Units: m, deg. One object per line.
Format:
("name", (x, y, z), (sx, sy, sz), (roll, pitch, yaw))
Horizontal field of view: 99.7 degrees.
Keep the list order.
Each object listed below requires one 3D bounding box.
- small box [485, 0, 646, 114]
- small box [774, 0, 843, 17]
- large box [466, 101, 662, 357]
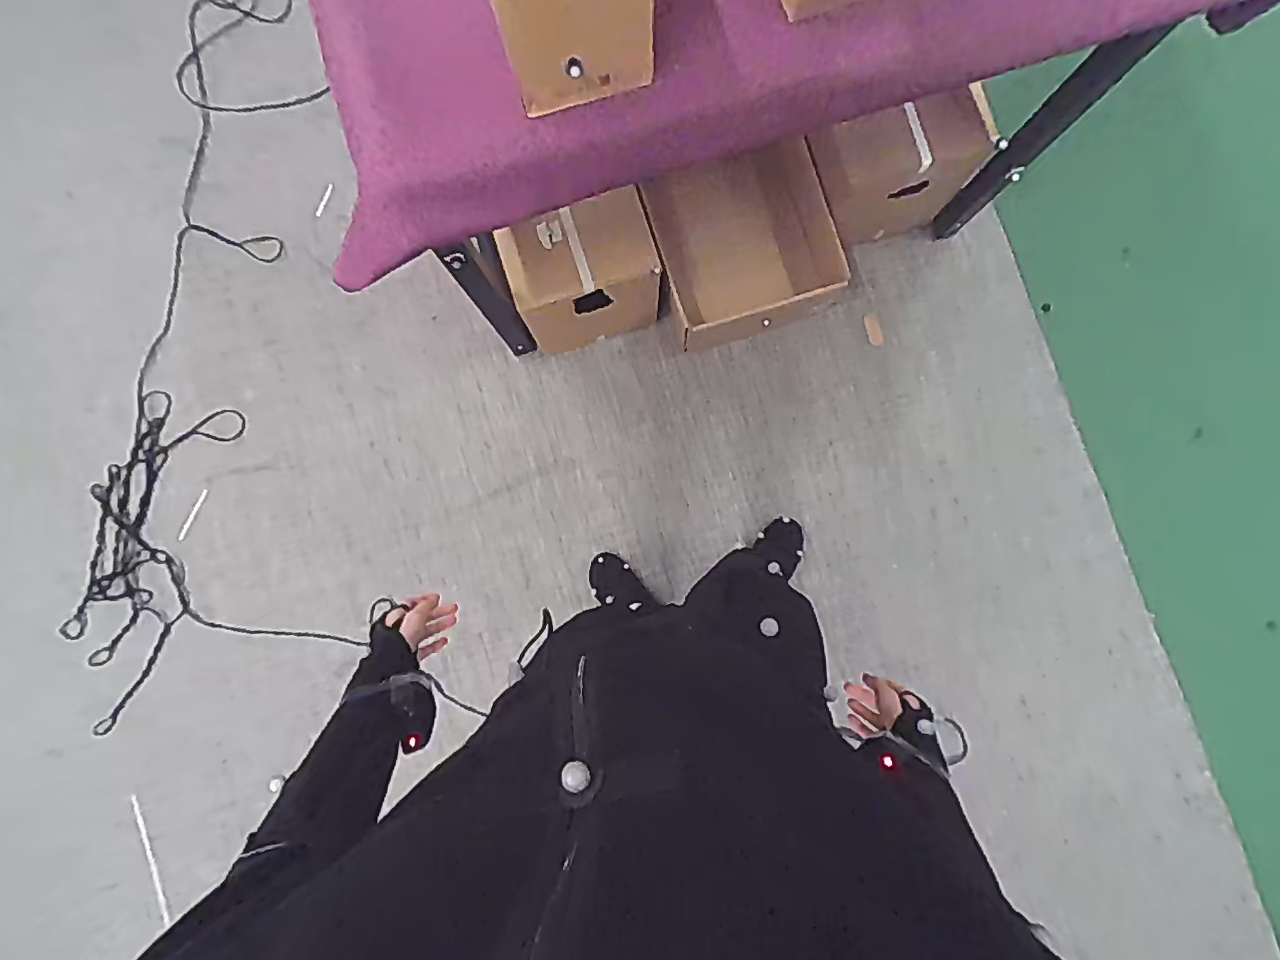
("small box", (-0.095, -0.564, 0.604), (0.168, 0.176, 0.179), (-17, 85, -1))
("small box", (0.236, -0.685, 0.606), (0.179, 0.176, 0.168), (-19, 84, 0))
("large box", (-0.163, -0.558, 1.269), (0.320, 0.320, 0.408), (-18, 86, -1))
